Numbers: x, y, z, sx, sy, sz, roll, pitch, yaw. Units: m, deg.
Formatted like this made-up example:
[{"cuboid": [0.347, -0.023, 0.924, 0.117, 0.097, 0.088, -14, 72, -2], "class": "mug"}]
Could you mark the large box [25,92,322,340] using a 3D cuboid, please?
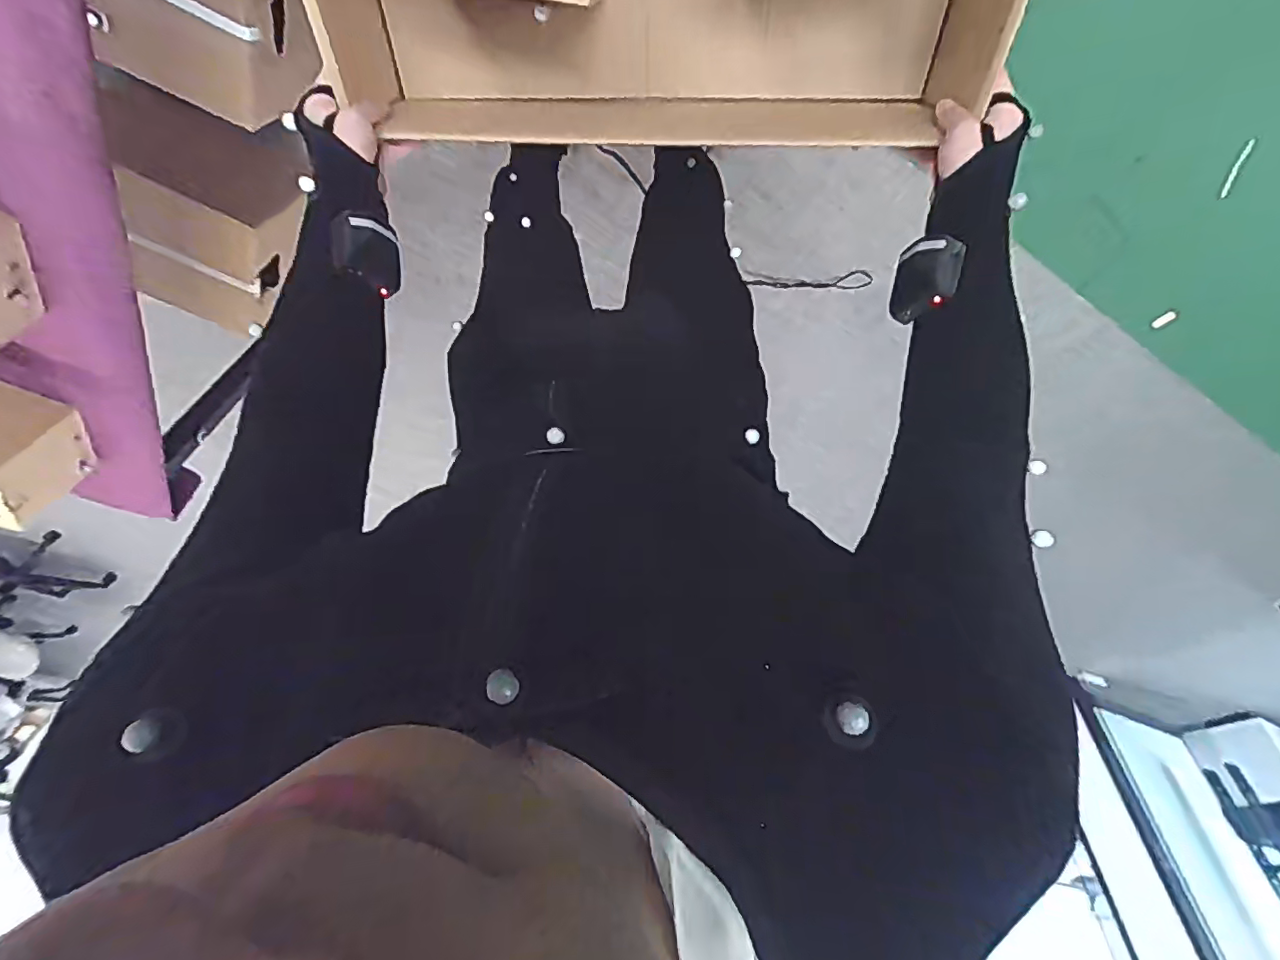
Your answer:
[{"cuboid": [-1.026, -0.605, 1.261, 0.408, 0.320, 0.320, 23, 133, -17], "class": "large box"}]

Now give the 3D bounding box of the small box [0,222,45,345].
[{"cuboid": [-0.910, -0.251, 0.657, 0.179, 0.176, 0.168, 24, 135, -18], "class": "small box"}]

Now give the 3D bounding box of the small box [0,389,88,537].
[{"cuboid": [-1.081, -0.039, 0.897, 0.179, 0.176, 0.168, 23, 134, -16], "class": "small box"}]
